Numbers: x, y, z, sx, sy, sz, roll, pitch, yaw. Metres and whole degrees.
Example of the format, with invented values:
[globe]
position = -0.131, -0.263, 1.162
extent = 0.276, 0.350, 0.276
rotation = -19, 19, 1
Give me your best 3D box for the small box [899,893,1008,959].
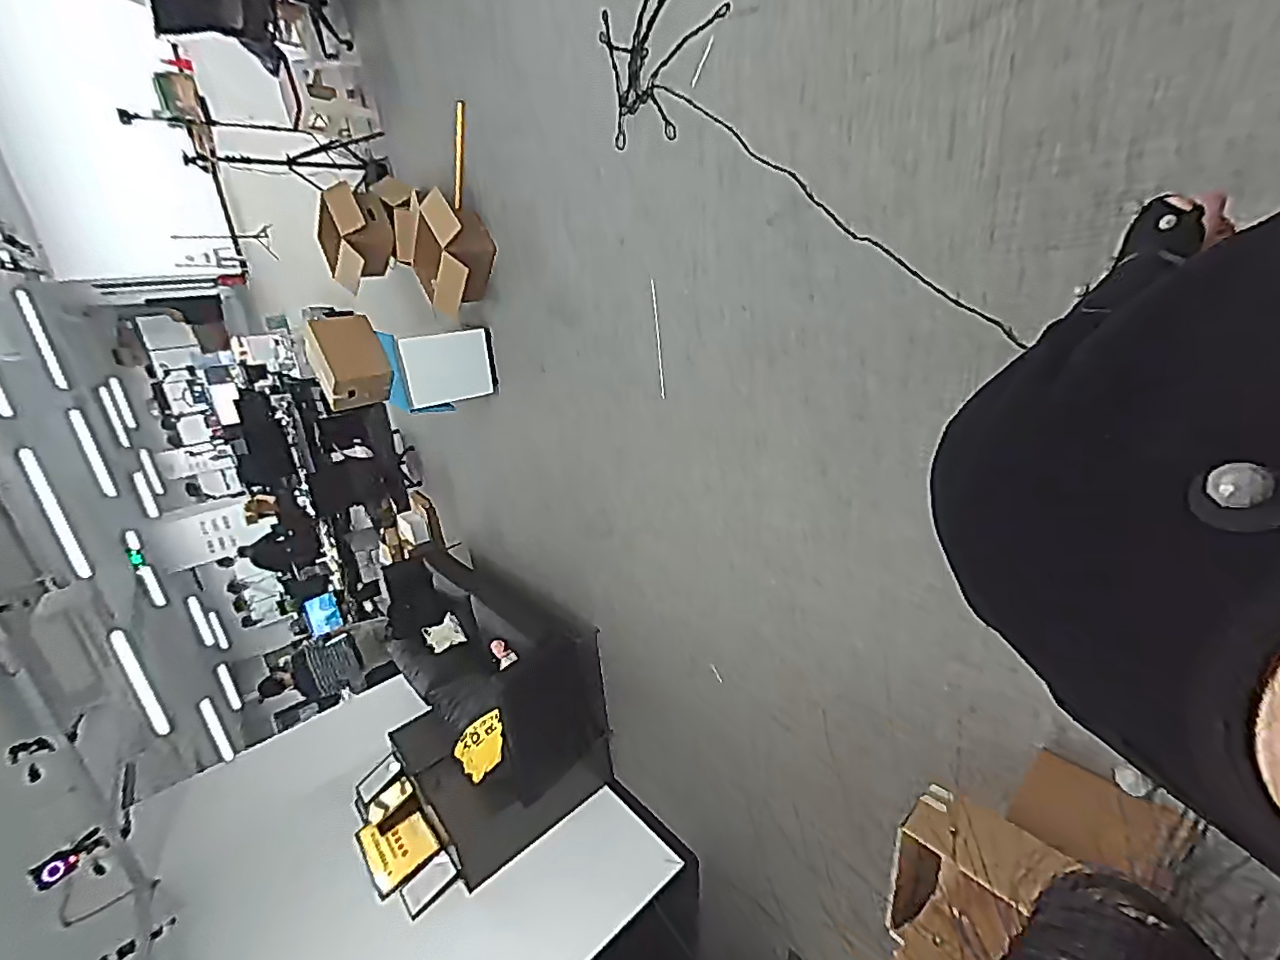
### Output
[small box]
position = 0.658, 1.050, 1.157
extent = 0.168, 0.176, 0.179
rotation = 26, 126, 44
